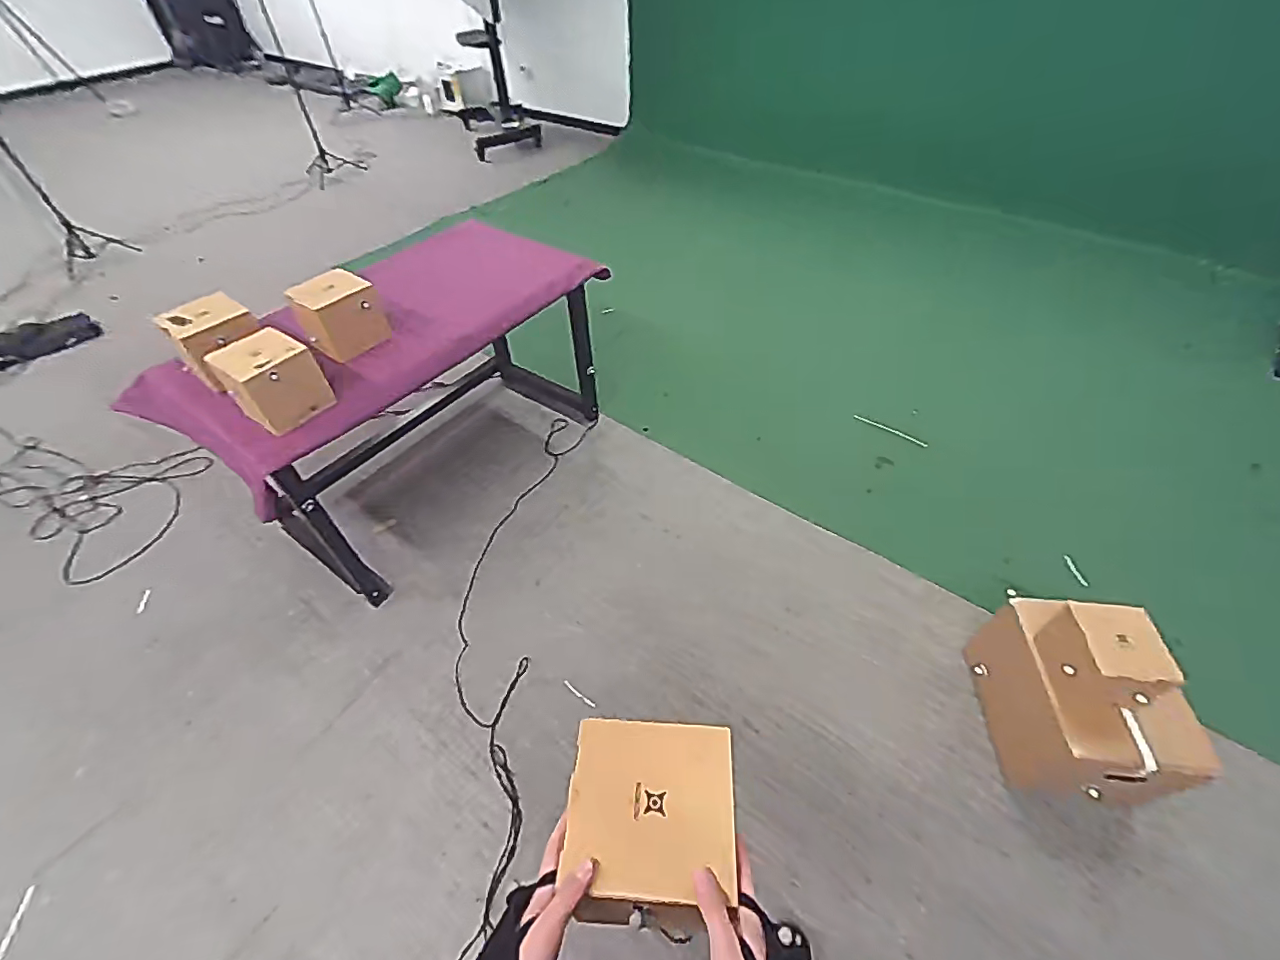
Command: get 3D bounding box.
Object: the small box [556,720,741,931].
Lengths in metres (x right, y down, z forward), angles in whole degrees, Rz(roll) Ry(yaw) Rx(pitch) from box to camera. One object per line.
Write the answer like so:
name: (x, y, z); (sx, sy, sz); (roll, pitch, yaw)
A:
small box: (0.015, 0.393, 0.614); (0.179, 0.176, 0.168); (1, 44, 5)

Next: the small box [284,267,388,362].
small box: (-0.840, -0.465, 1.519); (0.168, 0.176, 0.179); (29, 55, 26)

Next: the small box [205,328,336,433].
small box: (-0.893, -0.241, 1.320); (0.179, 0.176, 0.168); (26, 54, 25)

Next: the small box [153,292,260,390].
small box: (-1.124, -0.368, 1.443); (0.168, 0.176, 0.179); (29, 55, 24)

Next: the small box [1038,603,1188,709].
small box: (1.061, 0.403, 1.232); (0.168, 0.176, 0.179); (3, 48, 6)
